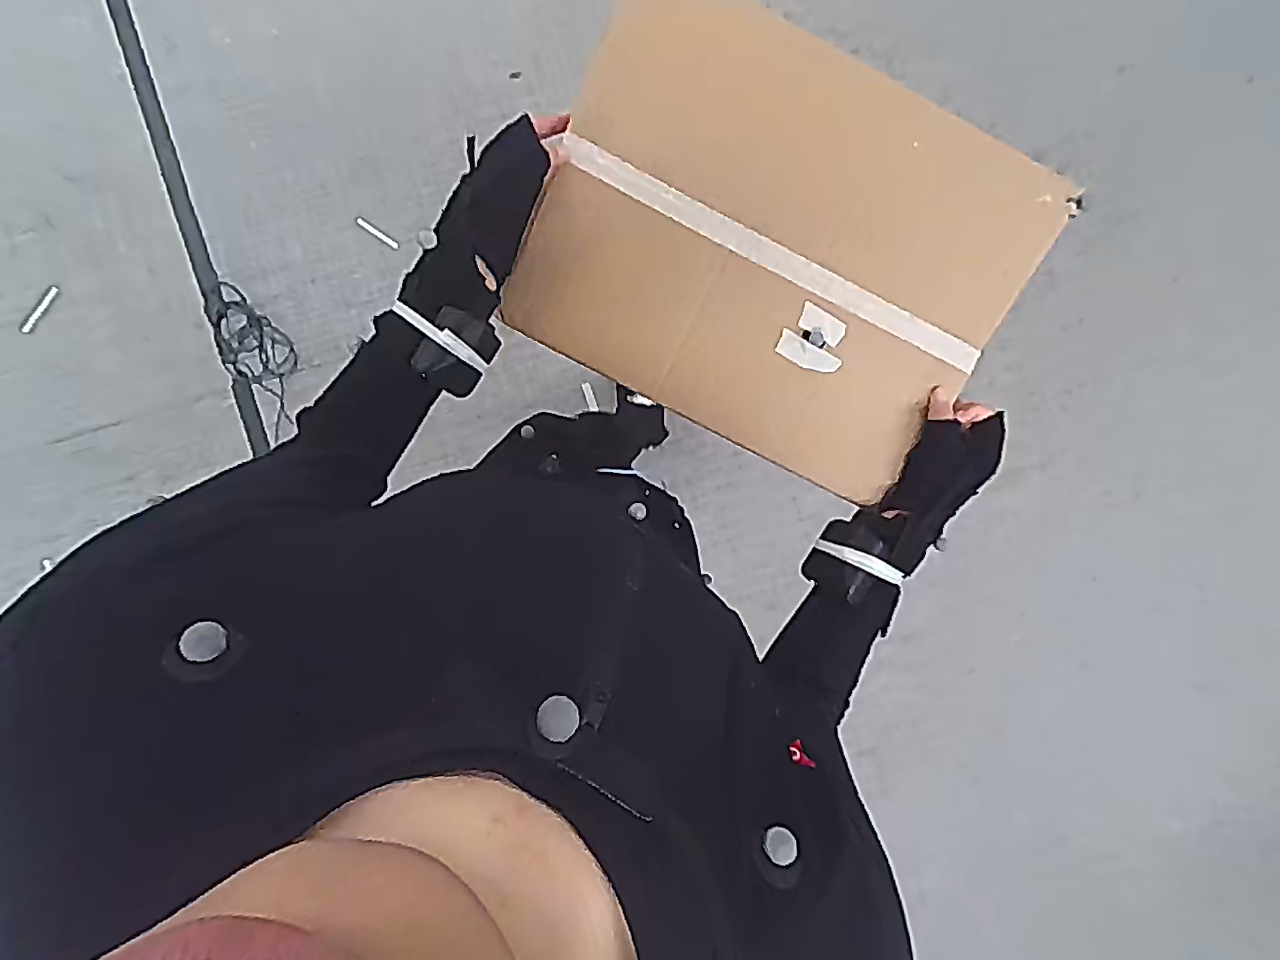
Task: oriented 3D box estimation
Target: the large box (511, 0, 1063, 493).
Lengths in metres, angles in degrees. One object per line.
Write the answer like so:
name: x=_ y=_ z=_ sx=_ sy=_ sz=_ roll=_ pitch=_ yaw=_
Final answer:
large box: x=0.125 y=-0.236 z=0.626 sx=0.408 sy=0.320 sz=0.320 roll=27 pitch=104 yaw=-4
